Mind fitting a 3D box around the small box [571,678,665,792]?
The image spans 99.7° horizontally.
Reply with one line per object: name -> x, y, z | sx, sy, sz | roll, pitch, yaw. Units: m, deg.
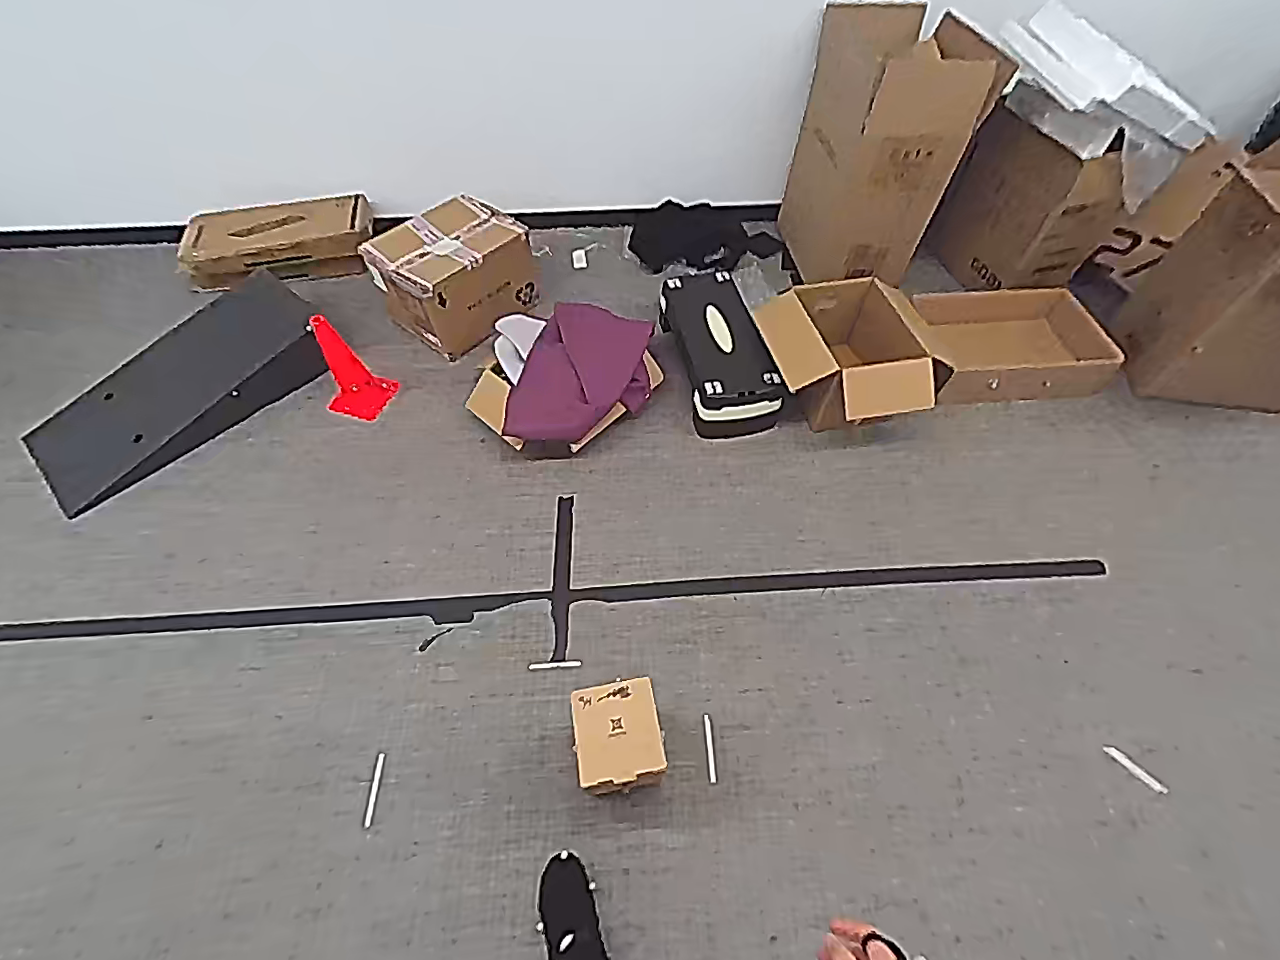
small box -> -0.044, 0.529, 1.112 | 0.168, 0.176, 0.179 | -9, 56, -6
